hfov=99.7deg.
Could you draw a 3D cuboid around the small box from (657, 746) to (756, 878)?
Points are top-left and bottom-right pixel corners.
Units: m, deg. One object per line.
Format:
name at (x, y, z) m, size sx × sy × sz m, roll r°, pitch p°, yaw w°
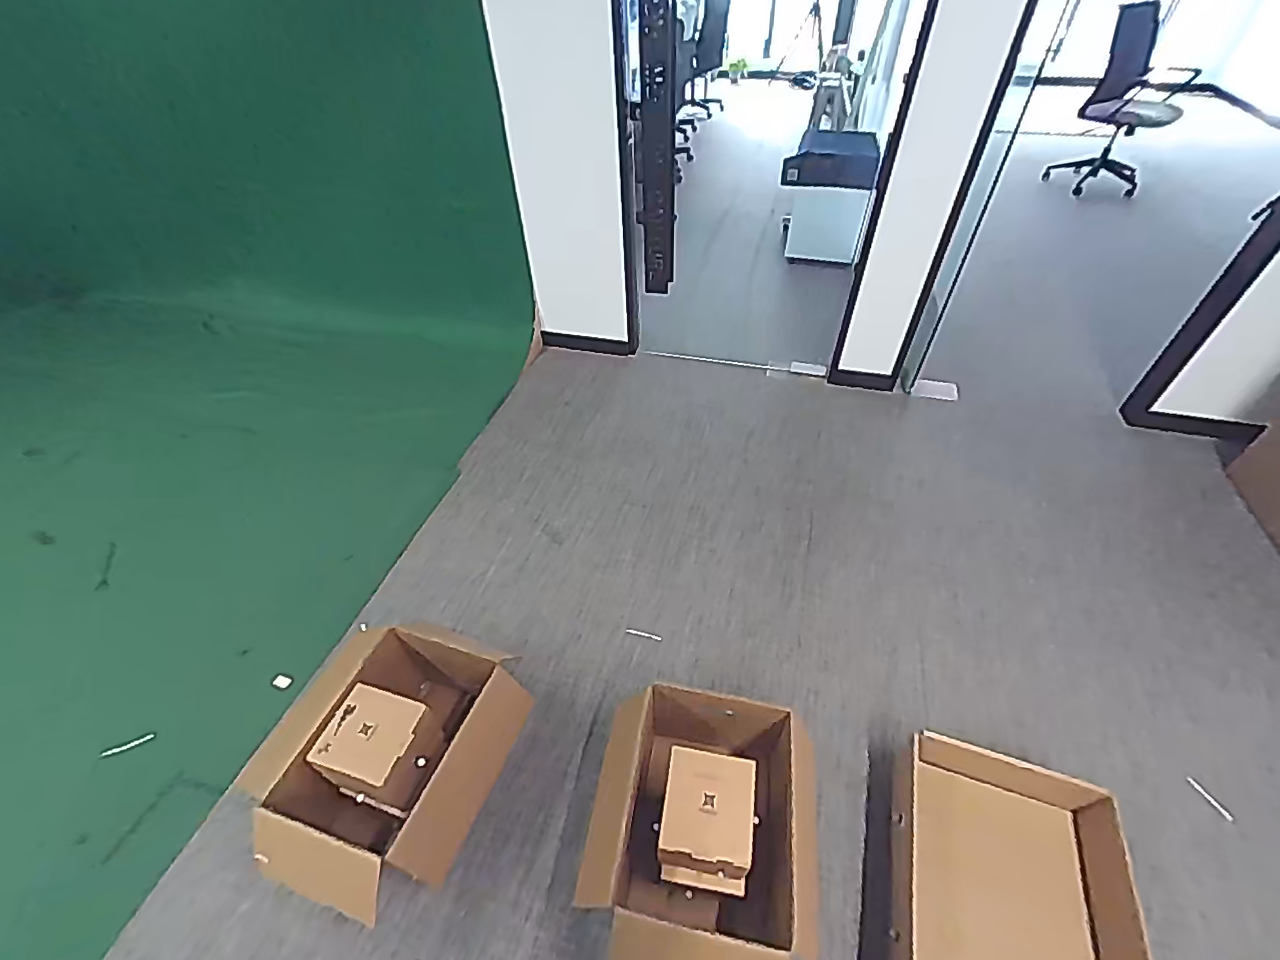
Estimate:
small box at (0.129, 0.650, 1.055) m, size 0.168 × 0.176 × 0.179 m, roll 8°, pitch 48°, yaw 8°
